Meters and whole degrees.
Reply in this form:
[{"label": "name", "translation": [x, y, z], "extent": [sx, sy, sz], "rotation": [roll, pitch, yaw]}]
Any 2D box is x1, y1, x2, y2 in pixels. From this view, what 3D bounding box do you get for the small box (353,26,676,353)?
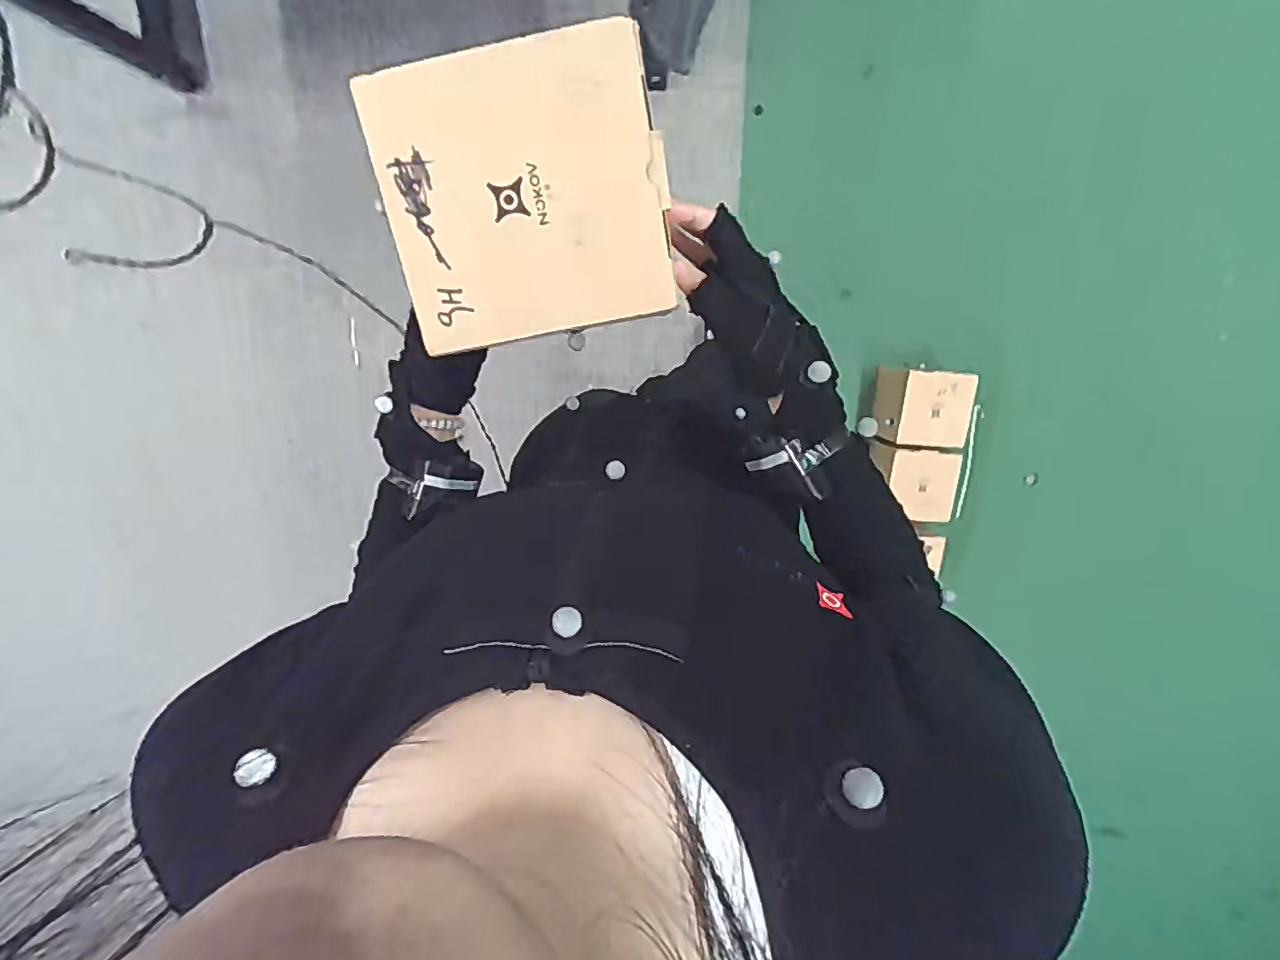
[{"label": "small box", "translation": [-0.077, -0.200, 0.421], "extent": [0.179, 0.176, 0.168], "rotation": [-11, 105, 2]}]
